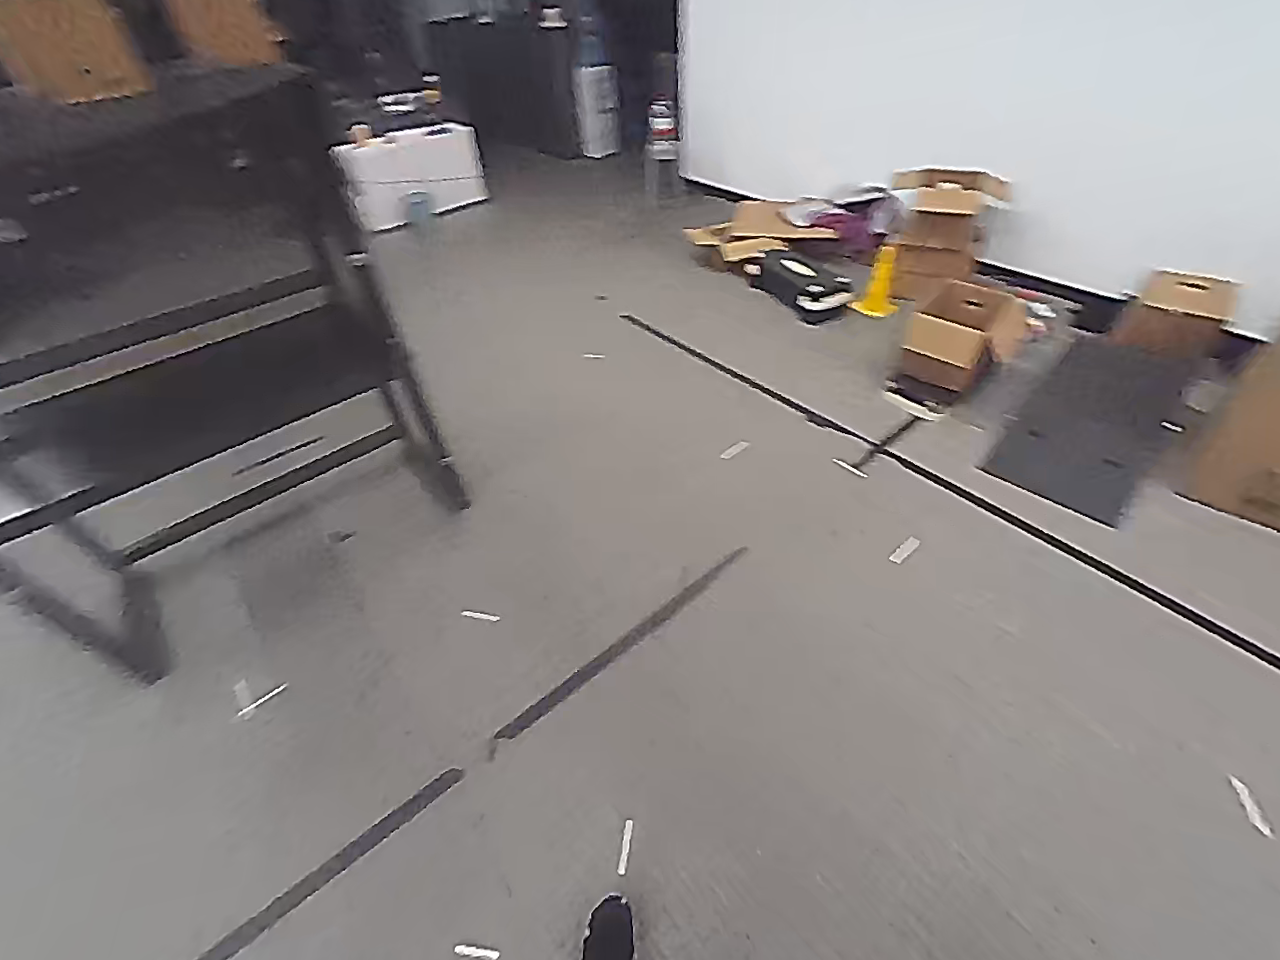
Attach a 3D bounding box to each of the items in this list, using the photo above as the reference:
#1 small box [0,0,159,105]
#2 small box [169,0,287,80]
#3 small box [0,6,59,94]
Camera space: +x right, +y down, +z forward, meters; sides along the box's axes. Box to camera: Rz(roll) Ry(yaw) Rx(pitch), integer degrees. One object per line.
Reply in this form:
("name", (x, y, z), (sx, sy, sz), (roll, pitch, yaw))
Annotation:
("small box", (-1.123, -0.873, 1.092), (0.168, 0.176, 0.179), (-32, 49, -25))
("small box", (-0.925, -1.019, 1.218), (0.168, 0.176, 0.179), (-25, 46, -18))
("small box", (-1.350, -1.002, 1.241), (0.179, 0.176, 0.168), (29, 54, 30))
